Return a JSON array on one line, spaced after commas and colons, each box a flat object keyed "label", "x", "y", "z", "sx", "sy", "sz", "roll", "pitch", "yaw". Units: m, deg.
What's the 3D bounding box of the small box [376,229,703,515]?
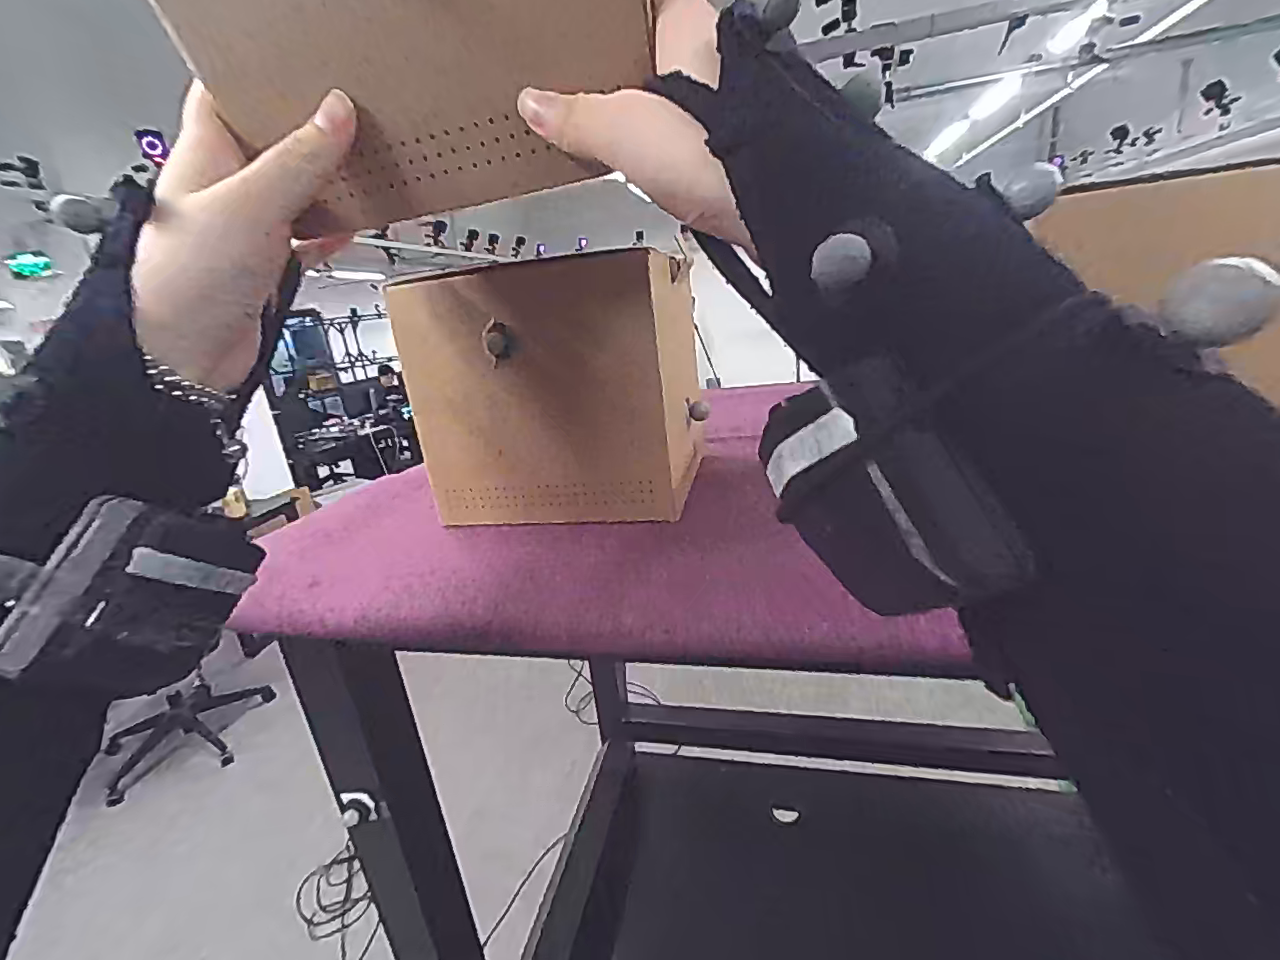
[{"label": "small box", "x": -0.054, "y": -0.078, "z": 0.408, "sx": 0.179, "sy": 0.176, "sz": 0.168, "roll": -2, "pitch": 19, "yaw": 14}]
